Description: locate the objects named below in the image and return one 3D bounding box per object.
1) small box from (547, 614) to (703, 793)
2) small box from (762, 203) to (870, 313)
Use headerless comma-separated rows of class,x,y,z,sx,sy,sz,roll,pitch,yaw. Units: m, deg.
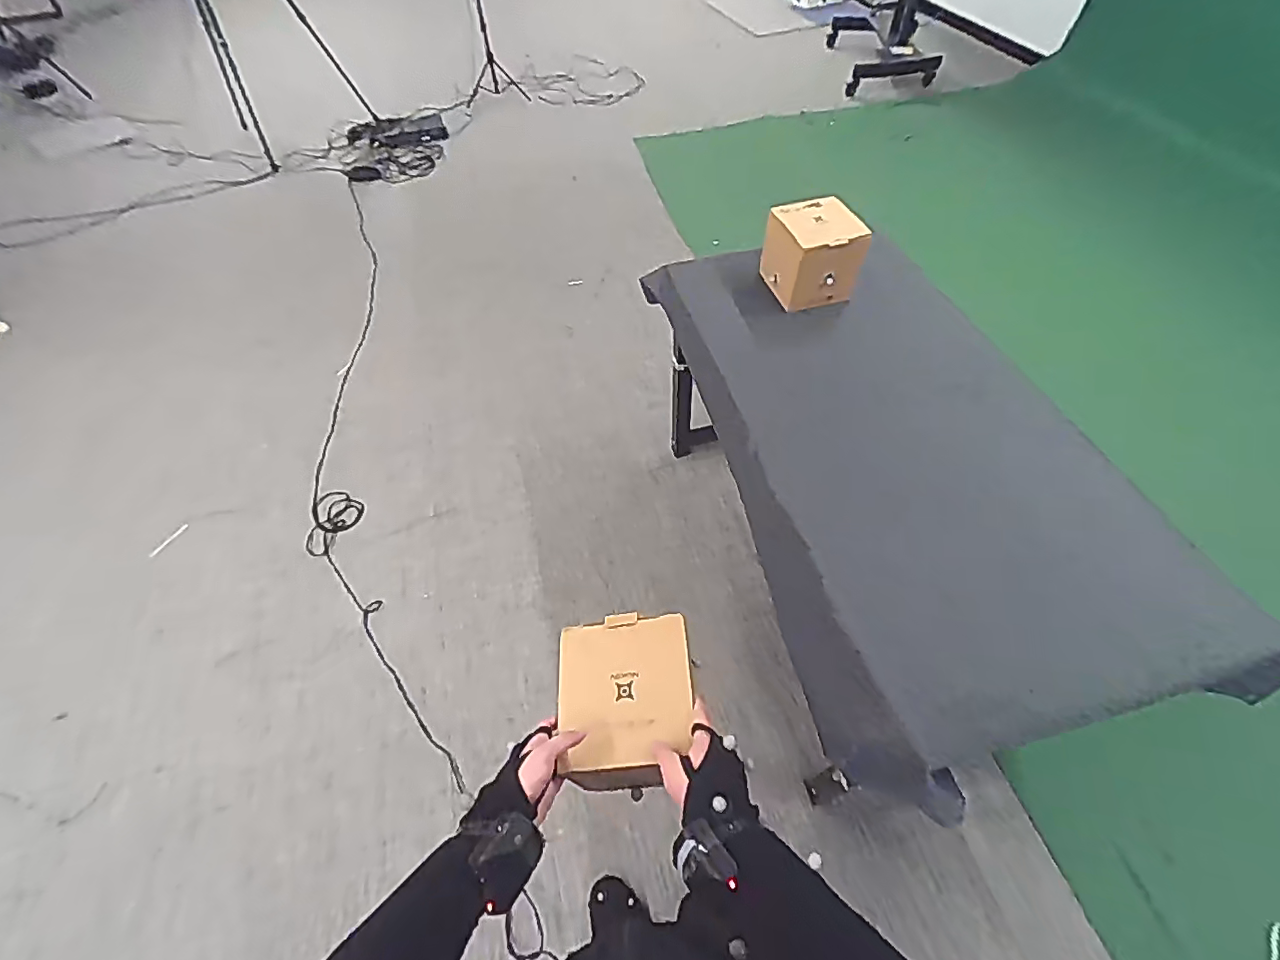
small box,-0.011,0.295,0.707,0.168,0.176,0.179,-8,52,8
small box,0.403,-0.513,1.269,0.168,0.176,0.179,-14,56,-8
